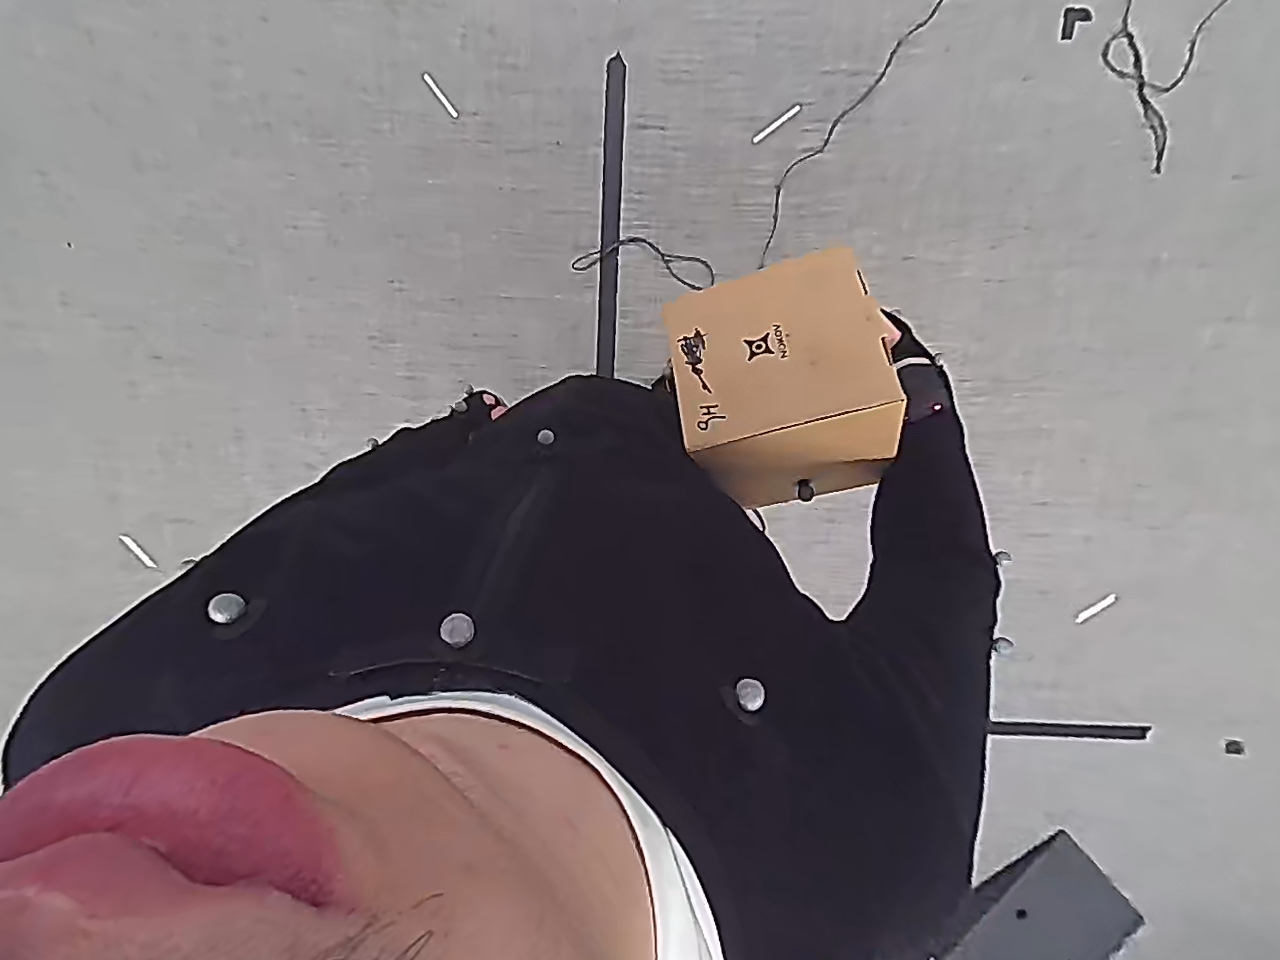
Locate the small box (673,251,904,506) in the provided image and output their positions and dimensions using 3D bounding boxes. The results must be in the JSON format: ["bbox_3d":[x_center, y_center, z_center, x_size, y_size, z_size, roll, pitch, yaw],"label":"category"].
[{"bbox_3d":[0.146,-0.088,0.549,0.179,0.176,0.168,-13,64,16],"label":"small box"}]
